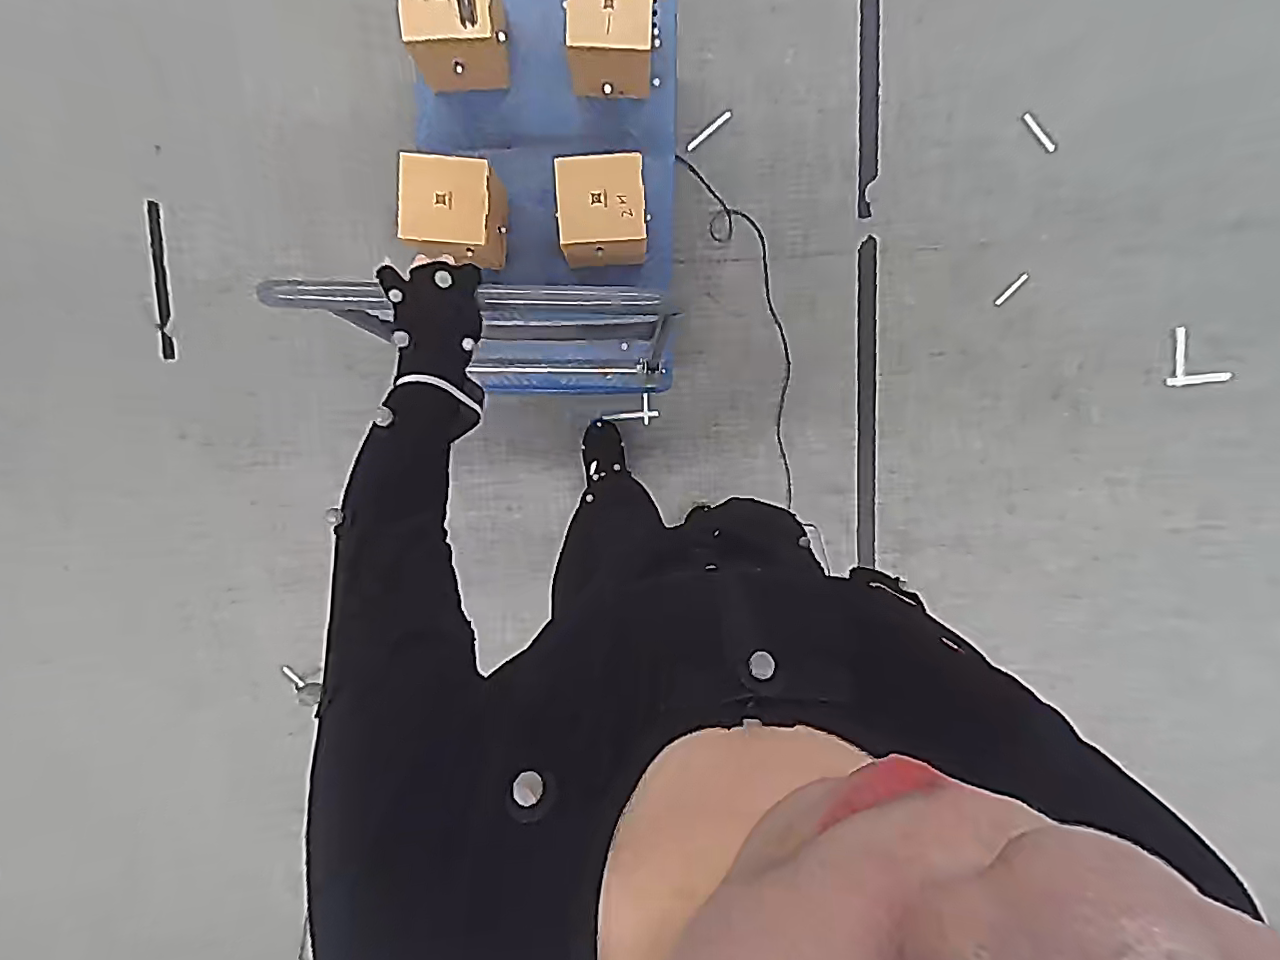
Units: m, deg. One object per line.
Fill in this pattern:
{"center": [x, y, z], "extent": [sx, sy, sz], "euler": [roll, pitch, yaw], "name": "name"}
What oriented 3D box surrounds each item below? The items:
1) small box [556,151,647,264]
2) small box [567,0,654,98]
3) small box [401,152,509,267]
{"center": [-0.075, -0.567, 1.146], "extent": [0.179, 0.176, 0.168], "euler": [-4, 96, 0], "name": "small box"}
{"center": [-0.056, -0.928, 1.106], "extent": [0.168, 0.176, 0.179], "euler": [2, 98, -1], "name": "small box"}
{"center": [-0.384, -0.562, 1.143], "extent": [0.179, 0.176, 0.168], "euler": [3, 96, -3], "name": "small box"}
